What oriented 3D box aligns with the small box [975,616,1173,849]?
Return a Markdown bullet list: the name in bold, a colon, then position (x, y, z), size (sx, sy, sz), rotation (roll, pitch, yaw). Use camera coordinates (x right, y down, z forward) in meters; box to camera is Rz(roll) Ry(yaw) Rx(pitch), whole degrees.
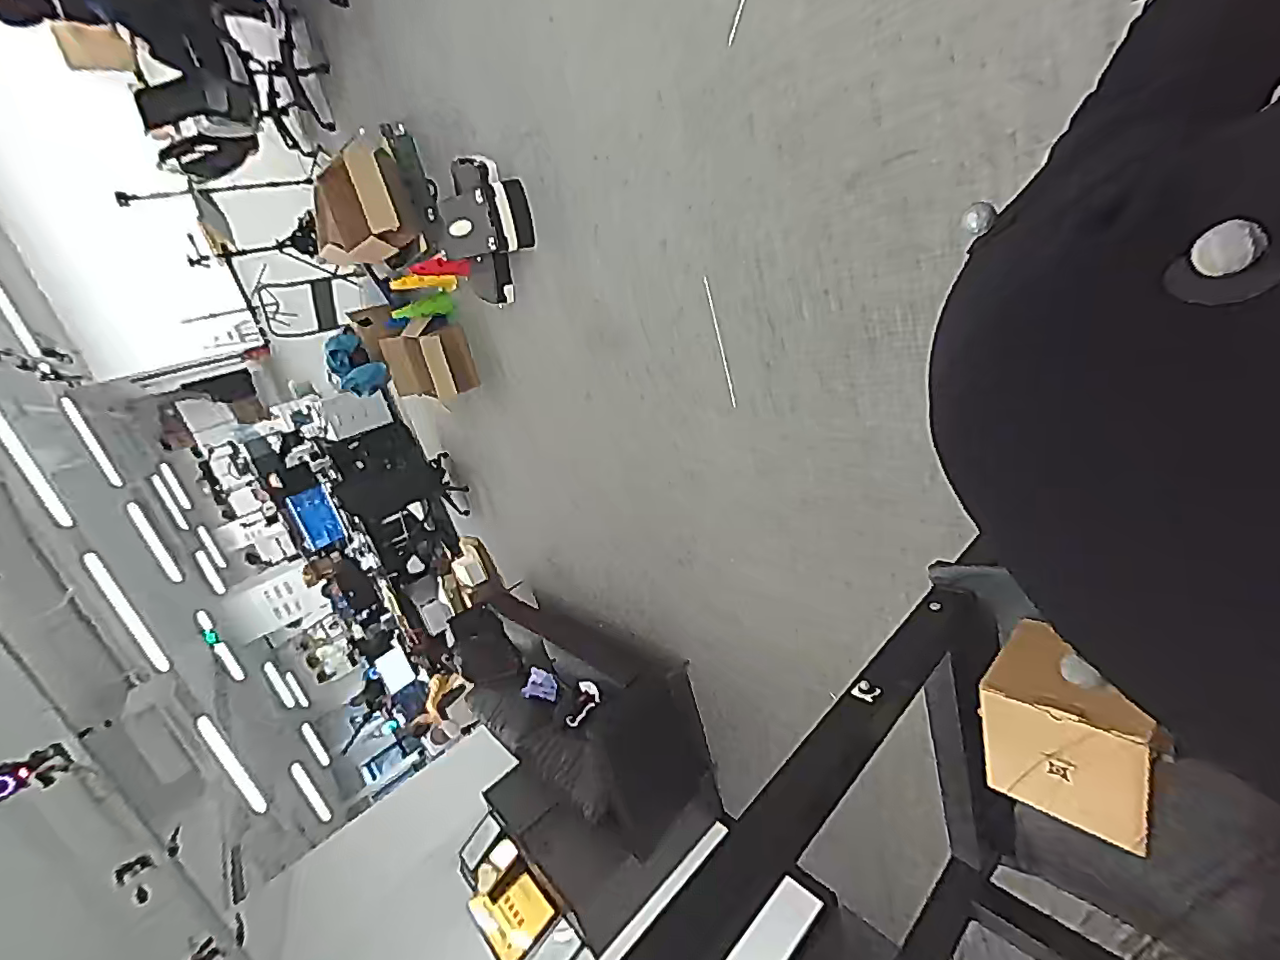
- **small box**: position (0.564, 0.311, 0.704), size (0.168, 0.176, 0.179), rotation (7, 119, 51)
